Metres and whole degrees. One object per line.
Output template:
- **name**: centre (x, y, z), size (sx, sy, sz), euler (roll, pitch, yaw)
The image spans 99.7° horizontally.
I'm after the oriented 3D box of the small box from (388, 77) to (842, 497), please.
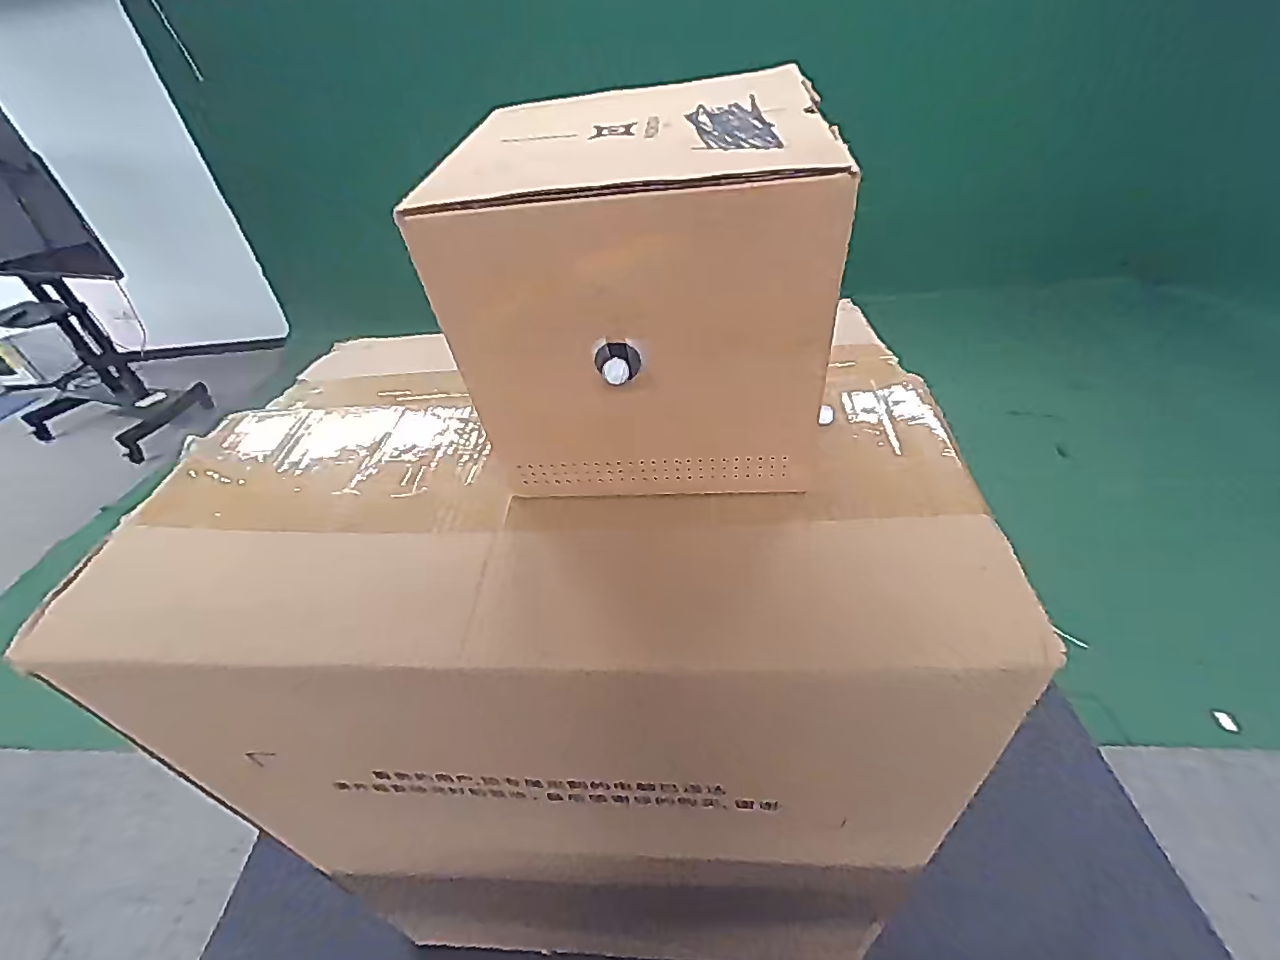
- **small box**: centre (0.001, -0.103, 0.312), size (0.179, 0.176, 0.168), euler (-2, 46, 8)
